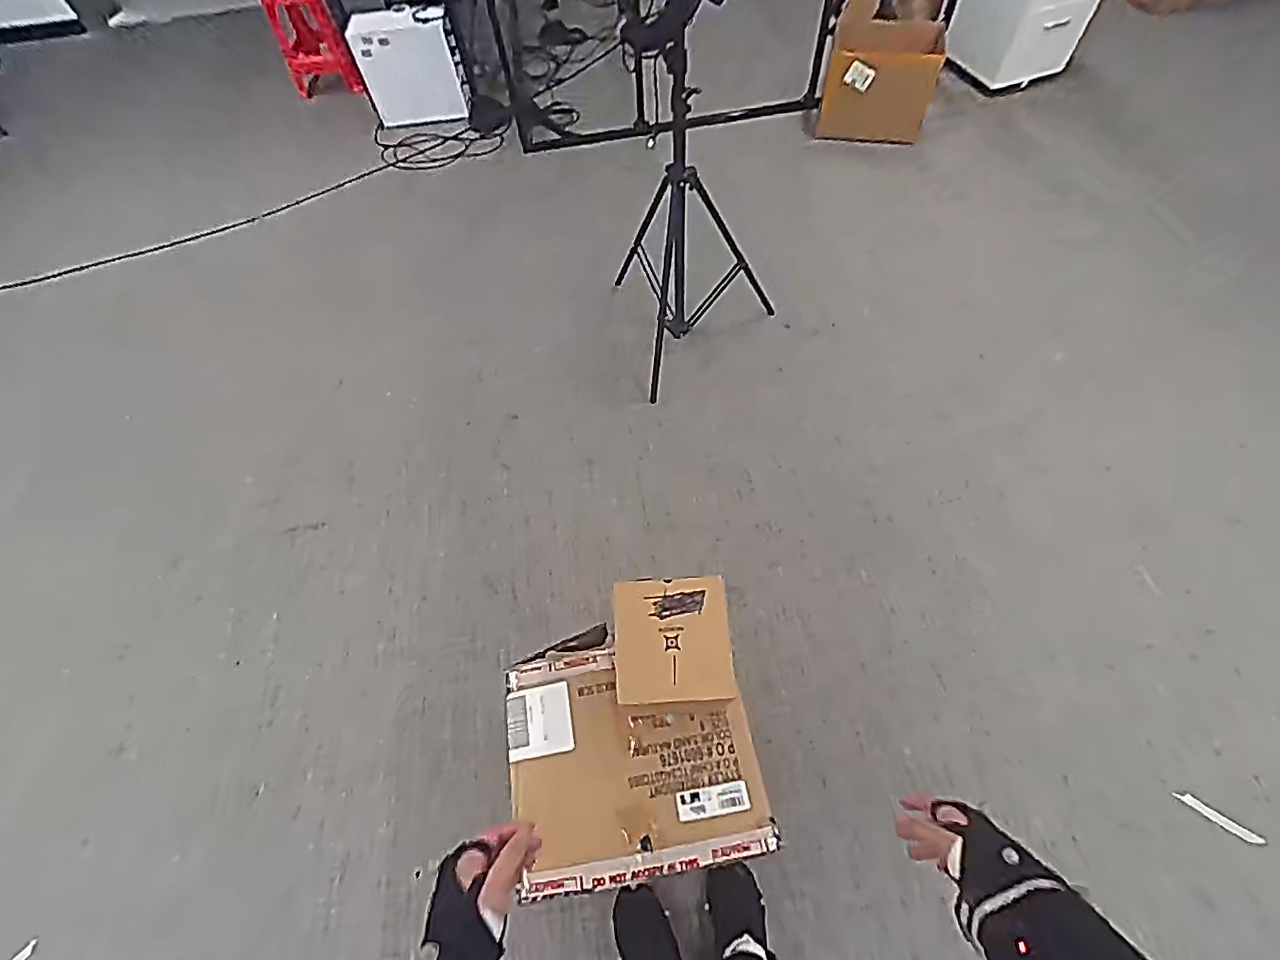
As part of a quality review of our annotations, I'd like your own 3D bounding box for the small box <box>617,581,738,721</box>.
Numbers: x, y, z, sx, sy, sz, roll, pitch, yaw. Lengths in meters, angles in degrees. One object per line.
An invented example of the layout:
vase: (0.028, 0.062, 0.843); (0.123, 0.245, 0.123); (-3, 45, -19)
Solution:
small box: (0.049, 0.267, 0.832); (0.168, 0.176, 0.179); (-3, 62, 0)
